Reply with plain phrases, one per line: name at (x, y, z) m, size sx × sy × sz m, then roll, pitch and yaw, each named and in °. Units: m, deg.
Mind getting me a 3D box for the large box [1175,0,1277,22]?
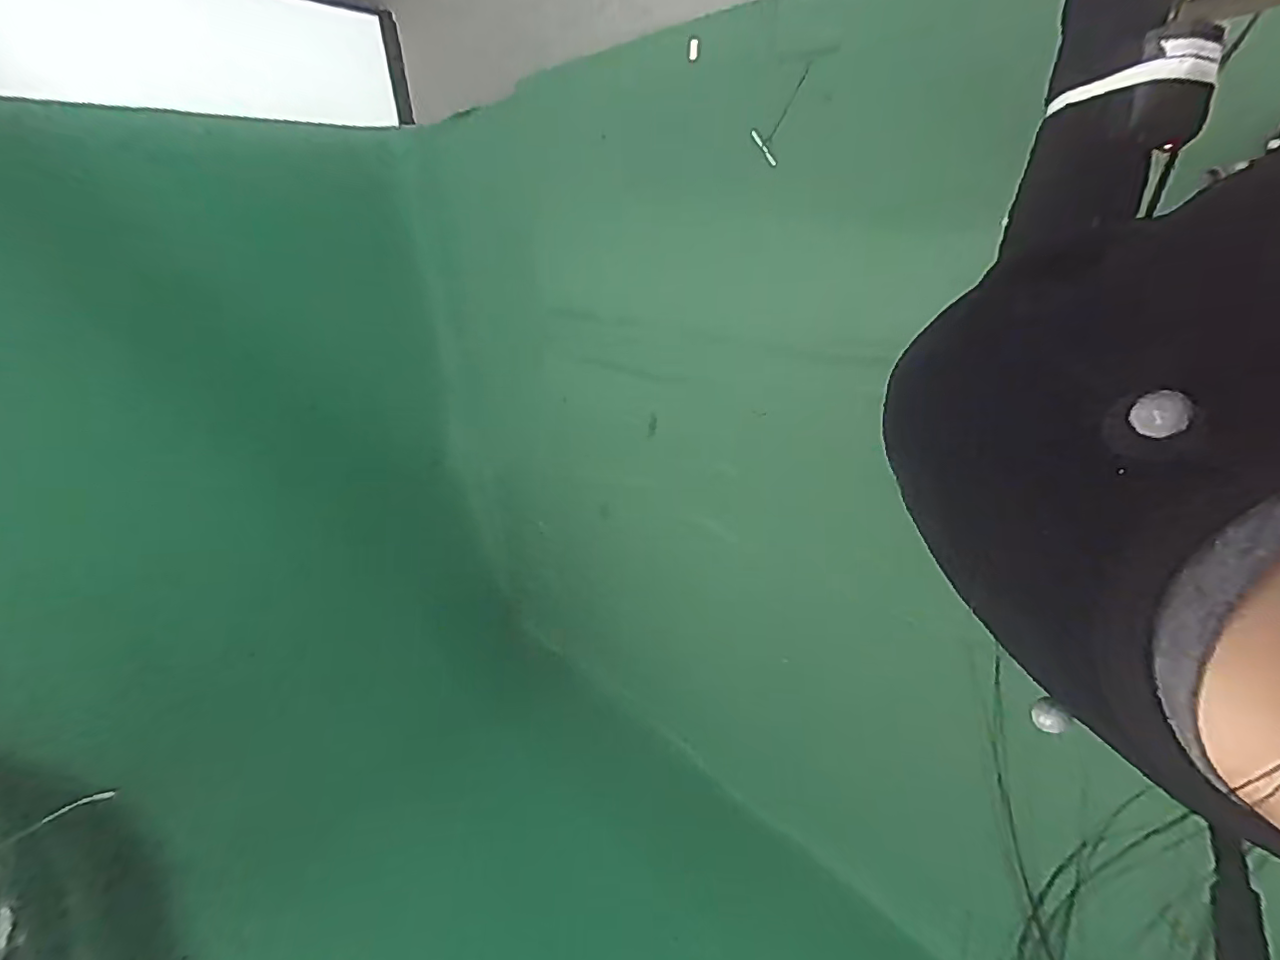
large box at (0.580, -0.492, 0.266) m, size 0.408 × 0.320 × 0.320 m, roll 12°, pitch 126°, yaw 39°
